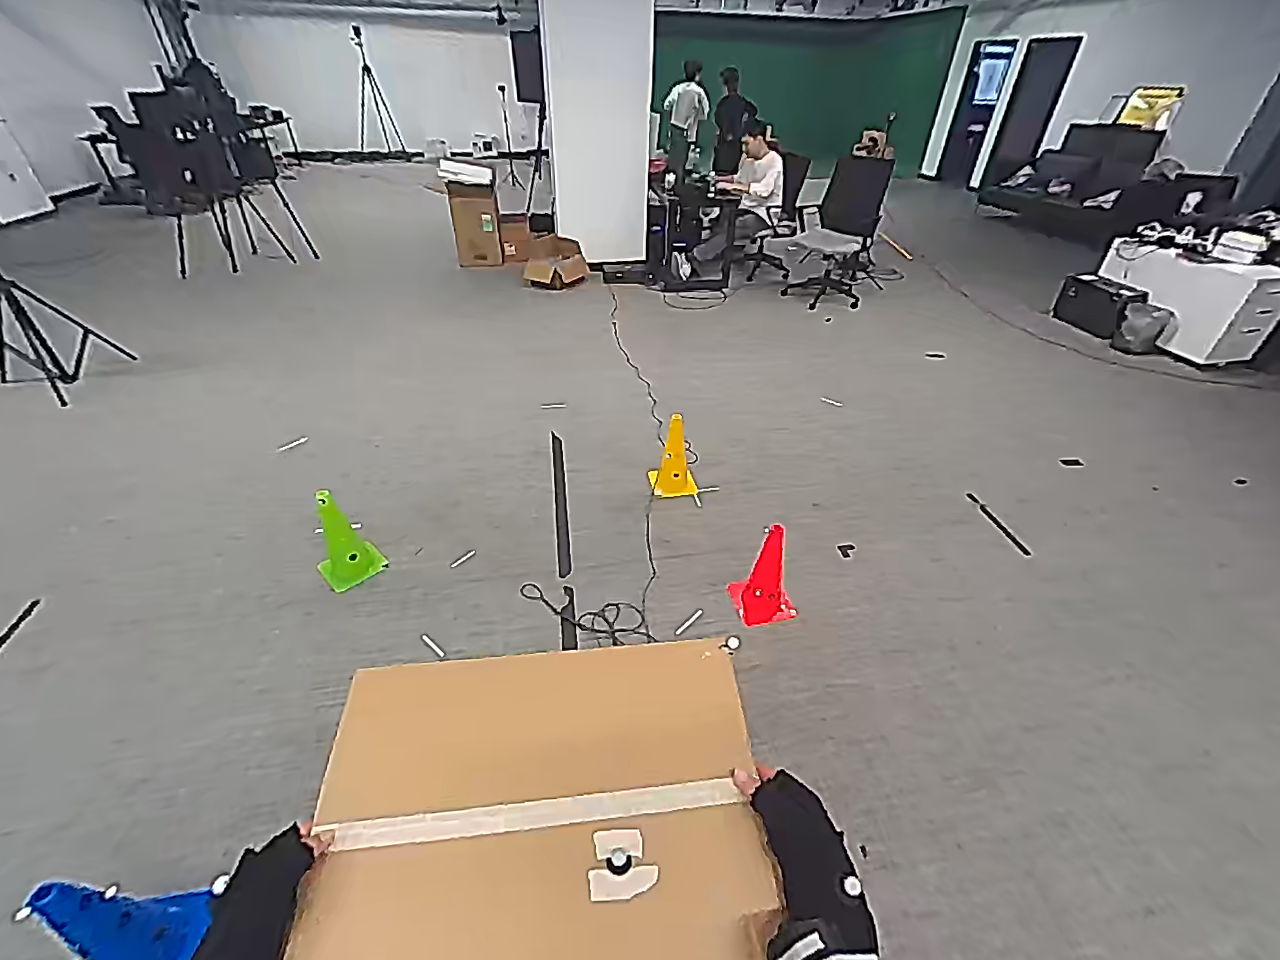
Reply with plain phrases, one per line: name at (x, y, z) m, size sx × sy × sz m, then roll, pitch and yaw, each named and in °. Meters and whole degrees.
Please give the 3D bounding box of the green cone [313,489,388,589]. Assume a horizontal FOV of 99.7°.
green cone at (-1.091, 0.181, 1.954) m, size 0.200 × 0.368 × 0.202 m, roll 29°, pitch 47°, yaw 33°

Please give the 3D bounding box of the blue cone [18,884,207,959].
blue cone at (-1.058, 0.874, 1.060) m, size 0.192 × 0.380 × 0.193 m, roll -4°, pitch 37°, yaw -5°

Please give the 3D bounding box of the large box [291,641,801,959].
large box at (-0.090, 0.410, 0.602) m, size 0.408 × 0.320 × 0.320 m, roll -3°, pitch 46°, yaw -5°

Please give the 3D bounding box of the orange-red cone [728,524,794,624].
orange-red cone at (0.439, 0.296, 1.852) m, size 0.198 × 0.360 × 0.199 m, roll -6°, pitch 36°, yaw -11°
